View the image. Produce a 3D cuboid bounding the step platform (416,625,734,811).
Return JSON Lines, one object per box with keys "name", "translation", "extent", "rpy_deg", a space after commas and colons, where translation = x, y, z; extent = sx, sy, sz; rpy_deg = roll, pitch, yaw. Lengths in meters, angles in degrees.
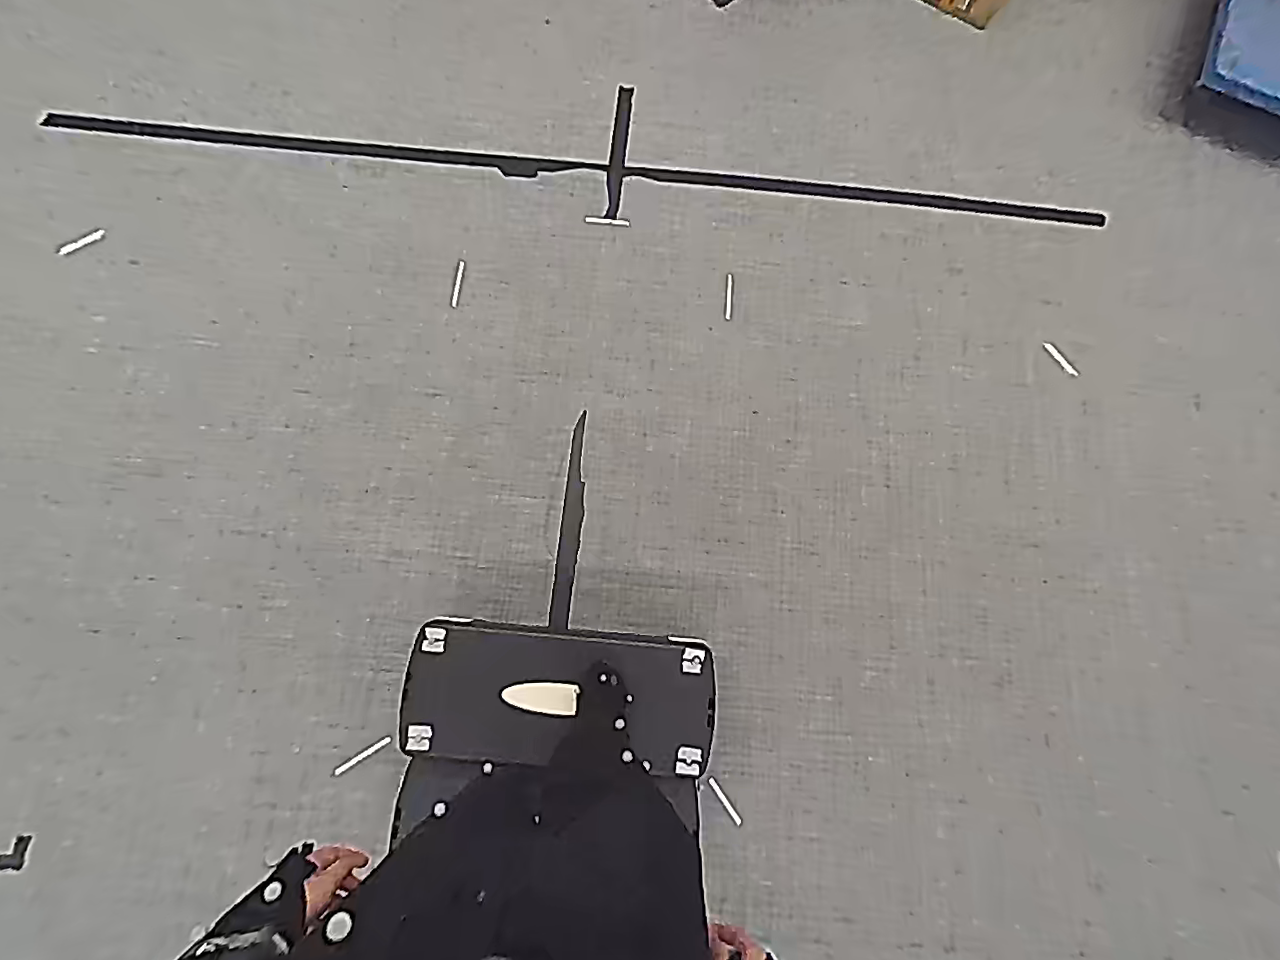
{"name": "step platform", "translation": [-0.135, 0.525, 1.224], "extent": [0.684, 0.204, 0.286], "rpy_deg": [10, 74, -1]}
